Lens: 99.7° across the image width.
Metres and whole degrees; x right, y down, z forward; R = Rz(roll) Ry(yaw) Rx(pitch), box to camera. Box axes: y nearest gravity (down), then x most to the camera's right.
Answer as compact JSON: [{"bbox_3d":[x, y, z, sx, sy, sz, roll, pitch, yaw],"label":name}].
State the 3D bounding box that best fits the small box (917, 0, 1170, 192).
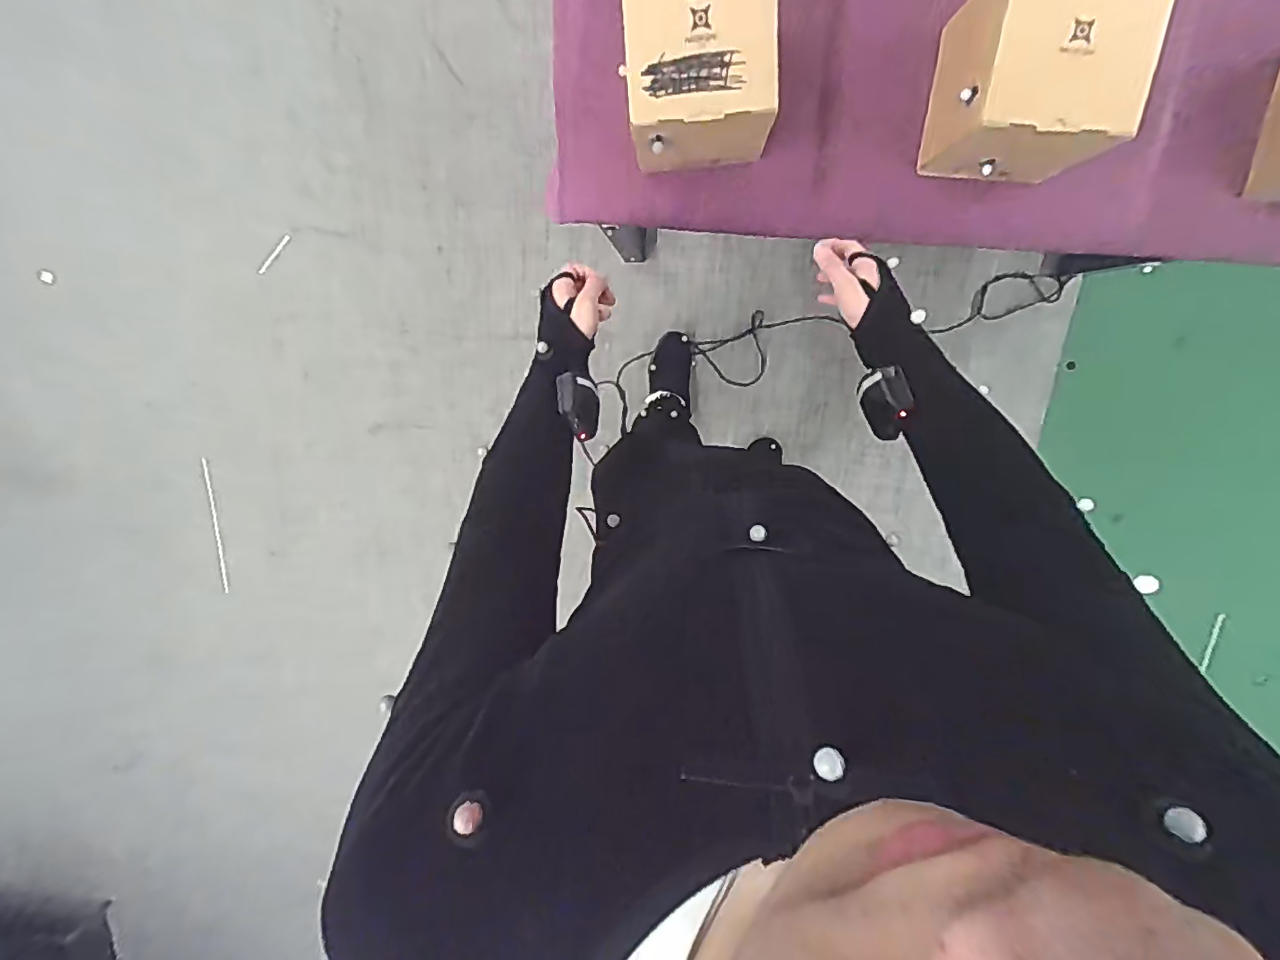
[{"bbox_3d":[0.461,-0.469,0.647,0.168,0.176,0.179,6,105,1],"label":"small box"}]
